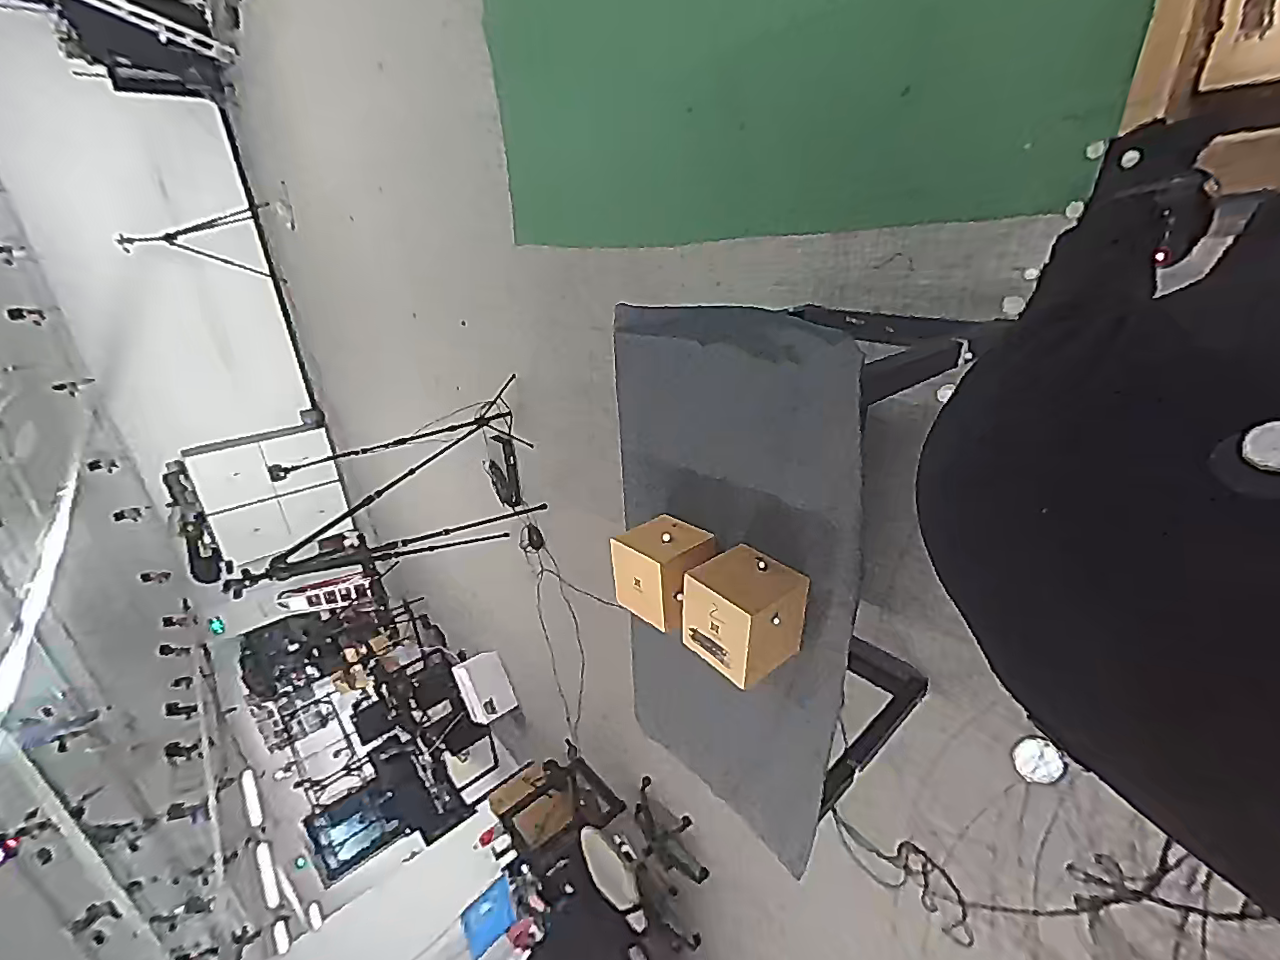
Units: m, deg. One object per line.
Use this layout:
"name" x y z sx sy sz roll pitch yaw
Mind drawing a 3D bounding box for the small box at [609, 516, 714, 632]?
"small box" 0.052 0.199 1.213 0.168 0.176 0.179 20 123 46
